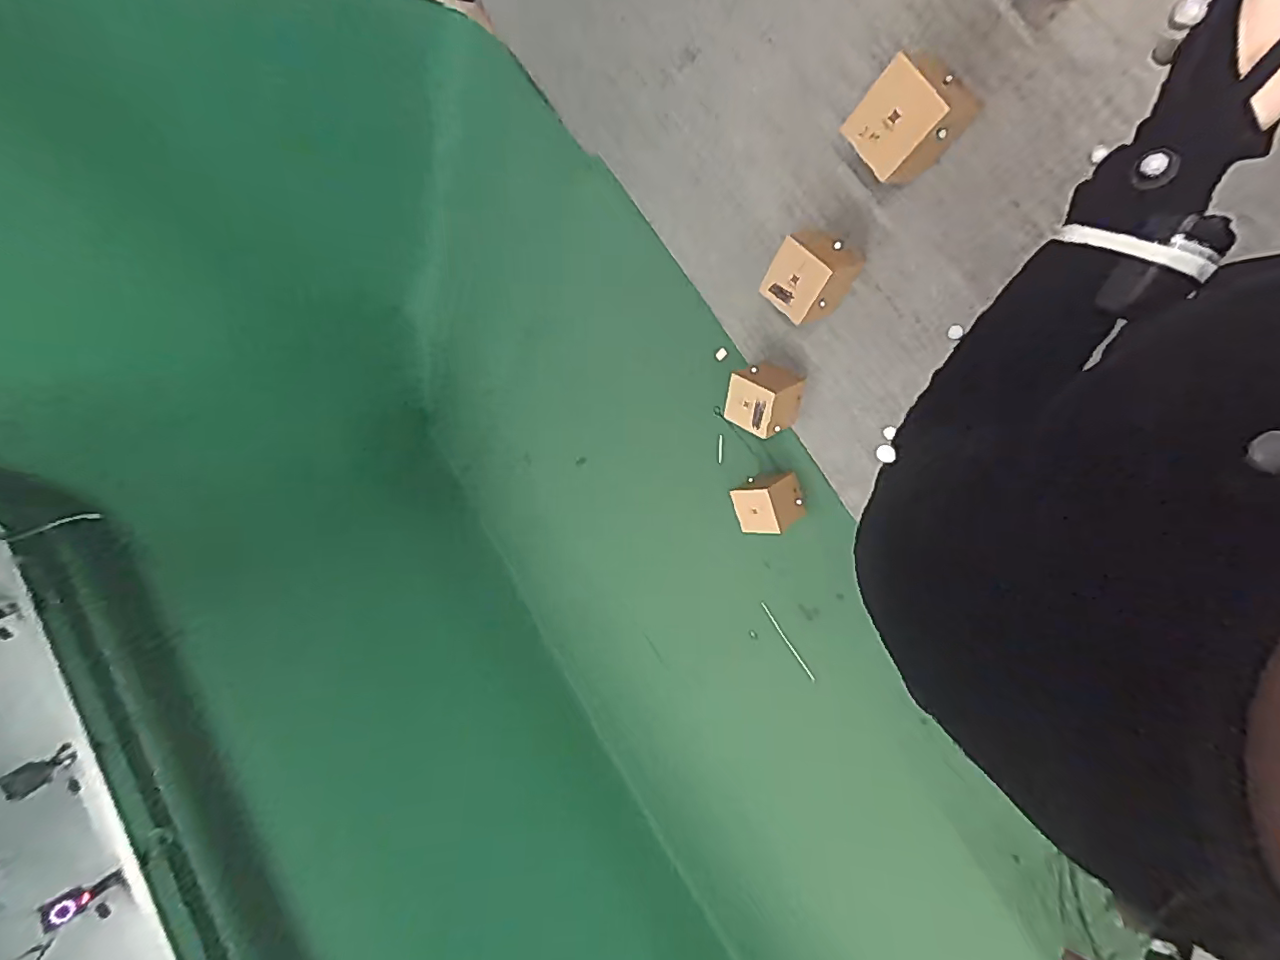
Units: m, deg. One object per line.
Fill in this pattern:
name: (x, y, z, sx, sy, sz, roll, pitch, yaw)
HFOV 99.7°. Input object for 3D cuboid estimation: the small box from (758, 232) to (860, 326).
small box: (0.469, -0.558, 1.495, 0.168, 0.176, 0.179, 50, 142, 19)

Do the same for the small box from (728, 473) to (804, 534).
small box: (0.449, 0.081, 1.918, 0.179, 0.176, 0.168, -4, 107, 53)

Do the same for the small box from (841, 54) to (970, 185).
small box: (0.593, -0.789, 1.195, 0.168, 0.176, 0.179, 59, 144, 9)
